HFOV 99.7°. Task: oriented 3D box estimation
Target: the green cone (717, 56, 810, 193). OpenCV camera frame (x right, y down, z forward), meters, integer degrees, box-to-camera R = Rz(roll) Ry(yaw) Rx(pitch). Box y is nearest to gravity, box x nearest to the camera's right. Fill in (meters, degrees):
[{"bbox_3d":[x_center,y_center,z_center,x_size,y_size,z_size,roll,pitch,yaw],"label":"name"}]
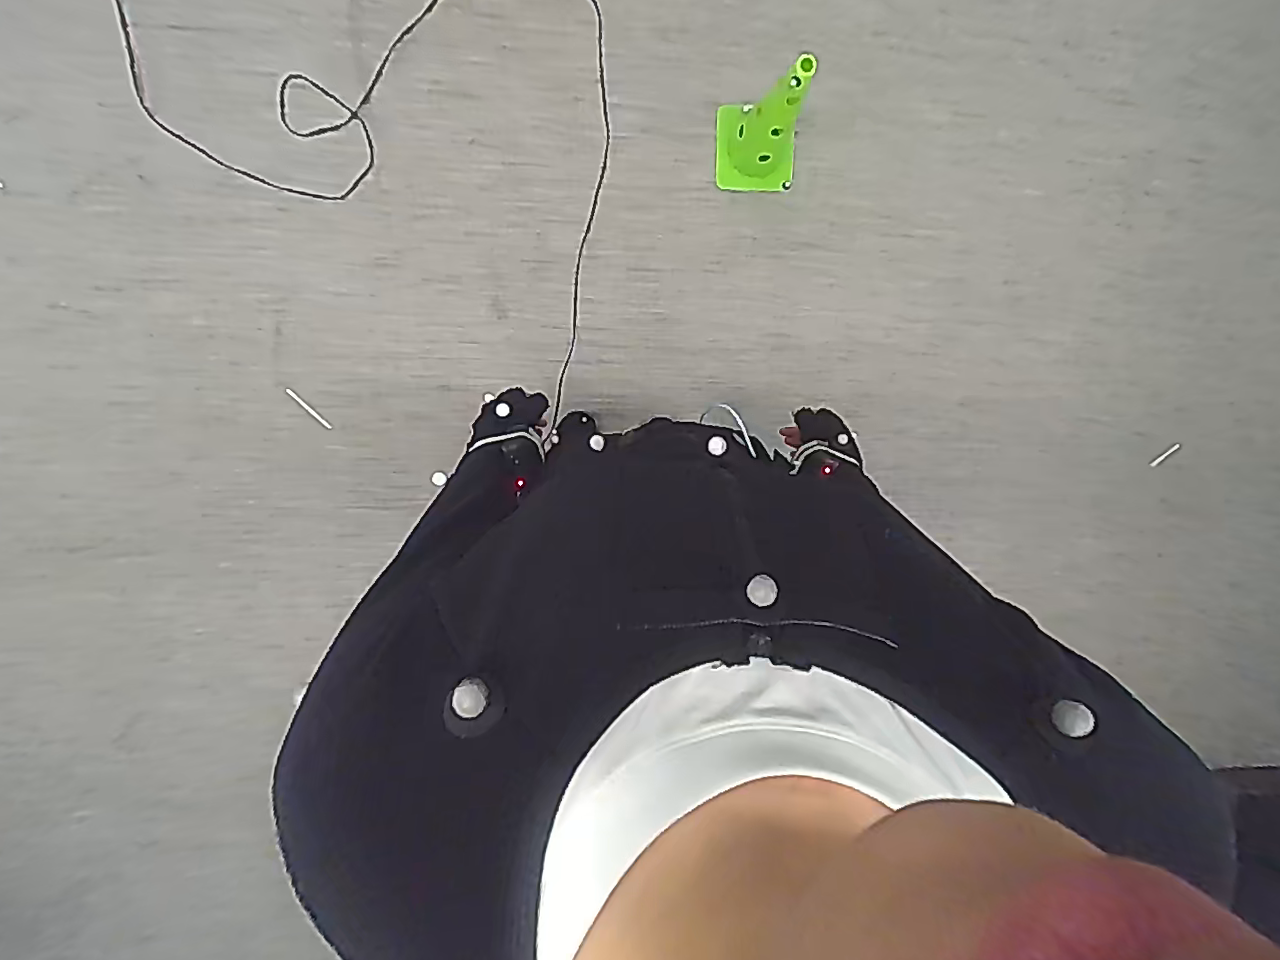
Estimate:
[{"bbox_3d":[0.303,-0.816,1.205,0.202,0.368,0.200,-1,98,-2],"label":"green cone"}]
